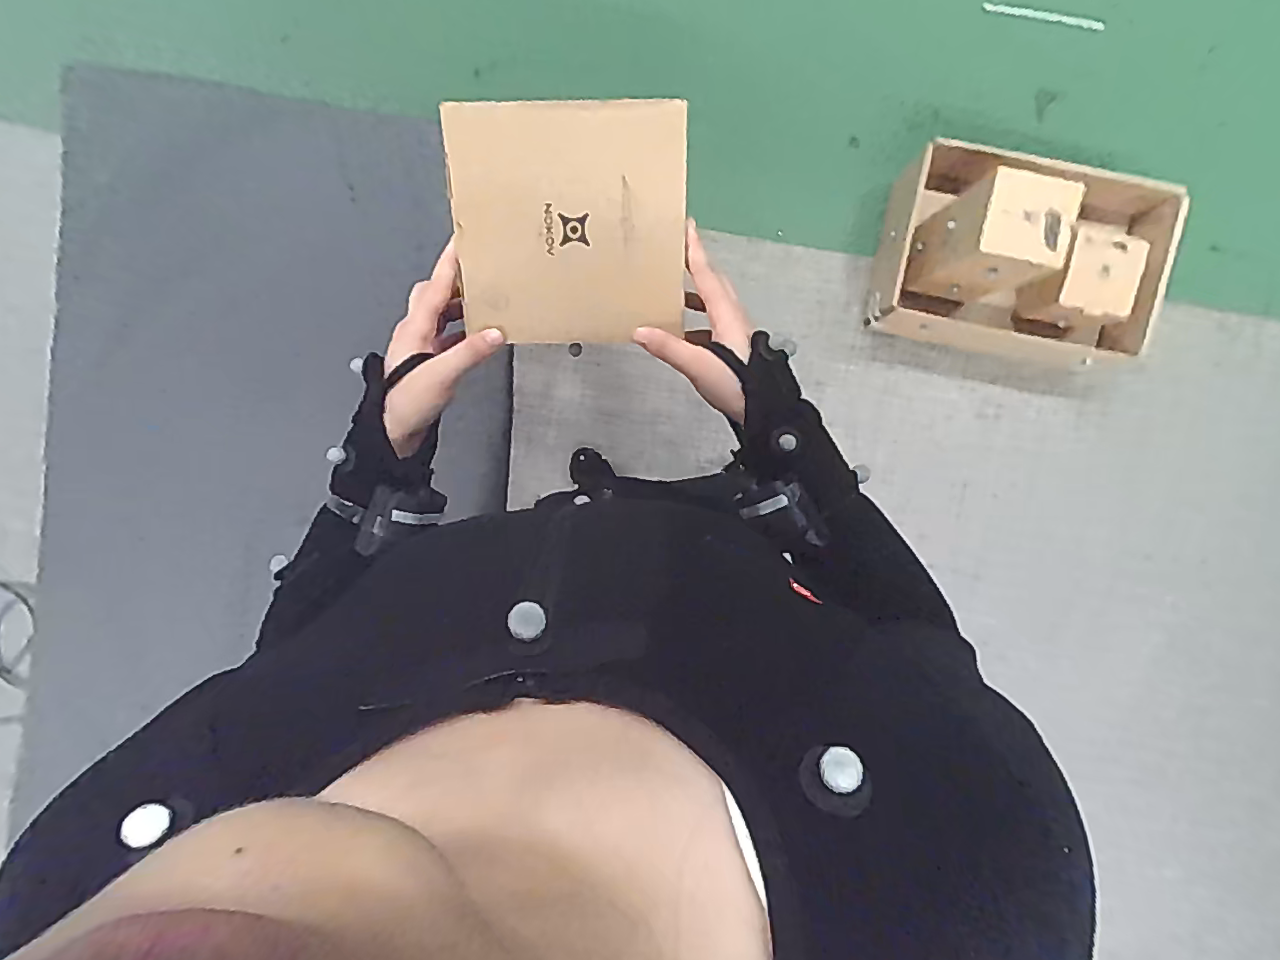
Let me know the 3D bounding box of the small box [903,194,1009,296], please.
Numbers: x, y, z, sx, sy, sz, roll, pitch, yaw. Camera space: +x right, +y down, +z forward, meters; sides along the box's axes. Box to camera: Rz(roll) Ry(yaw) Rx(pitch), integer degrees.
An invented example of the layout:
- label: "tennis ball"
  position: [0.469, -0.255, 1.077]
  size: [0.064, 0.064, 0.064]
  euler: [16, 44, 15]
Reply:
- label: "small box"
  position: [0.761, -0.550, 1.289]
  size: [0.179, 0.176, 0.168]
  euler: [10, 96, -2]

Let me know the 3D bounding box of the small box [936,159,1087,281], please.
- label: "small box"
  position: [0.762, -0.529, 1.126]
  size: [0.179, 0.176, 0.168]
  euler: [11, 96, -1]

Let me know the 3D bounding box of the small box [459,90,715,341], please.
- label: "small box"
  position: [-0.036, -0.211, 0.464]
  size: [0.179, 0.176, 0.168]
  euler: [-1, 110, -1]
